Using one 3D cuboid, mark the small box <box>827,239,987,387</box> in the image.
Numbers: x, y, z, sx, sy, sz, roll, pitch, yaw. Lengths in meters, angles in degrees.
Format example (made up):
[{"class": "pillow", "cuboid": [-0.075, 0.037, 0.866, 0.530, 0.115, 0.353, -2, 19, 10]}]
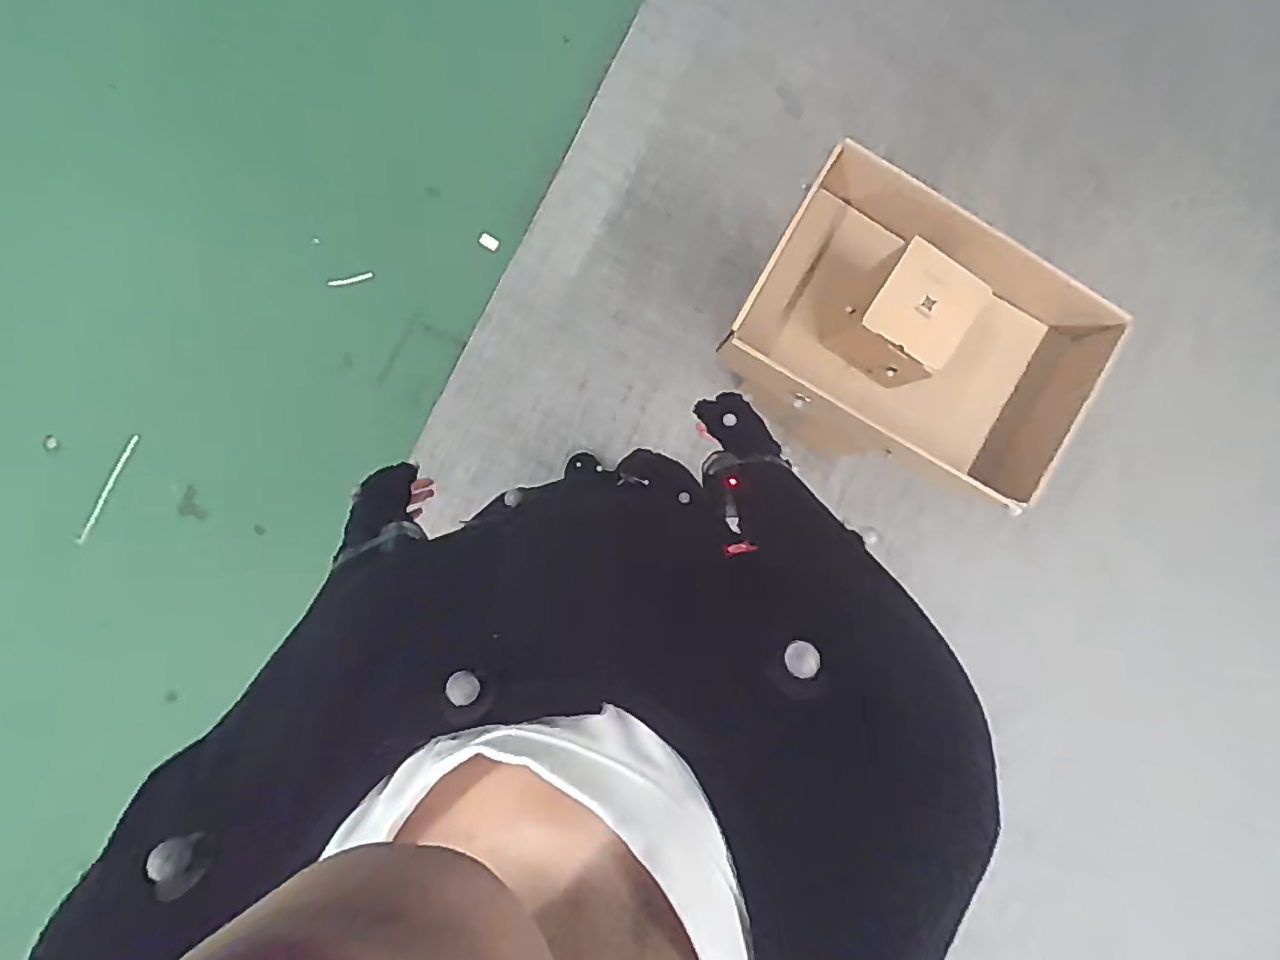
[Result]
[{"class": "small box", "cuboid": [0.469, -0.289, 0.984, 0.168, 0.176, 0.179, 32, 88, -6]}]
